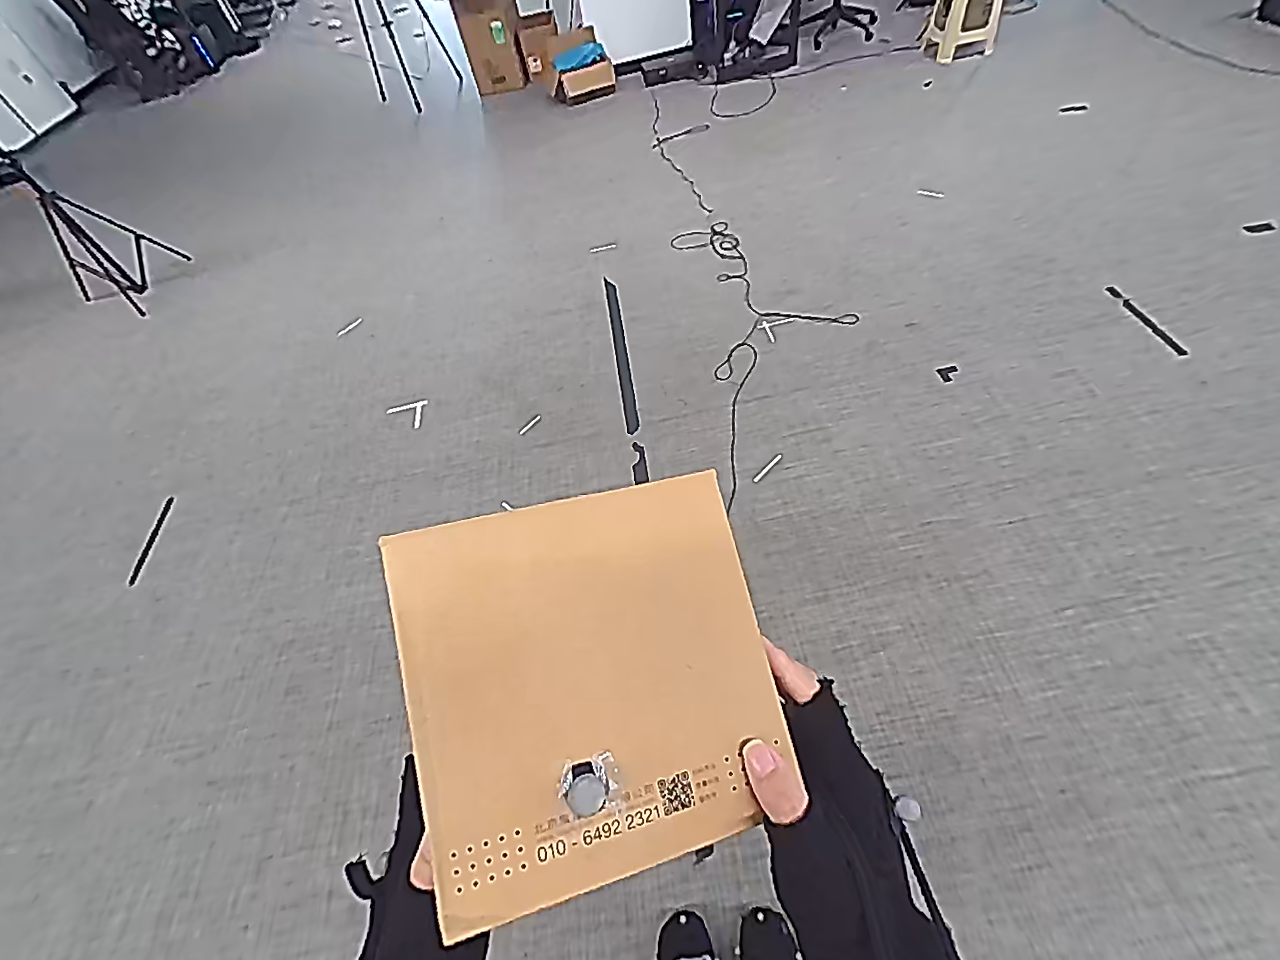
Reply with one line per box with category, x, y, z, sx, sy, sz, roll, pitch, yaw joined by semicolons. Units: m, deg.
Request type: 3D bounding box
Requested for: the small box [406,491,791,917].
small box;-0.033;0.120;0.340;0.168;0.179;0.176;-12;79;-14
